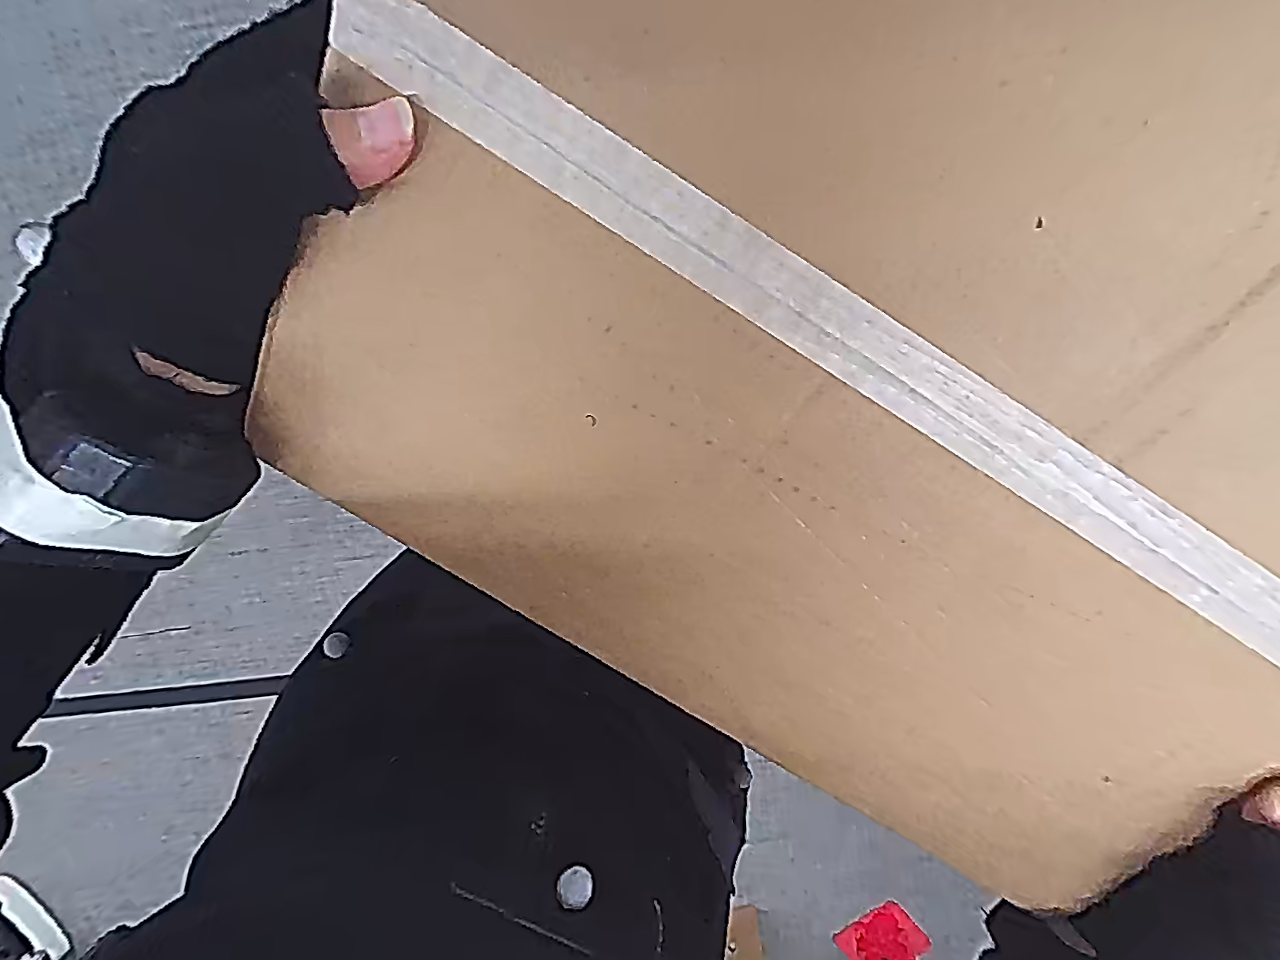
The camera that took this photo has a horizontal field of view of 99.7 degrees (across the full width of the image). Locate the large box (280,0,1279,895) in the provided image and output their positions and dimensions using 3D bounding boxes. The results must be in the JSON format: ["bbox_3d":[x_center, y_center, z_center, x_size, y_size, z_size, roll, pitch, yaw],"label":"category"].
[{"bbox_3d":[0.115,-0.079,0.309,0.408,0.320,0.320,32,117,-5],"label":"large box"}]
